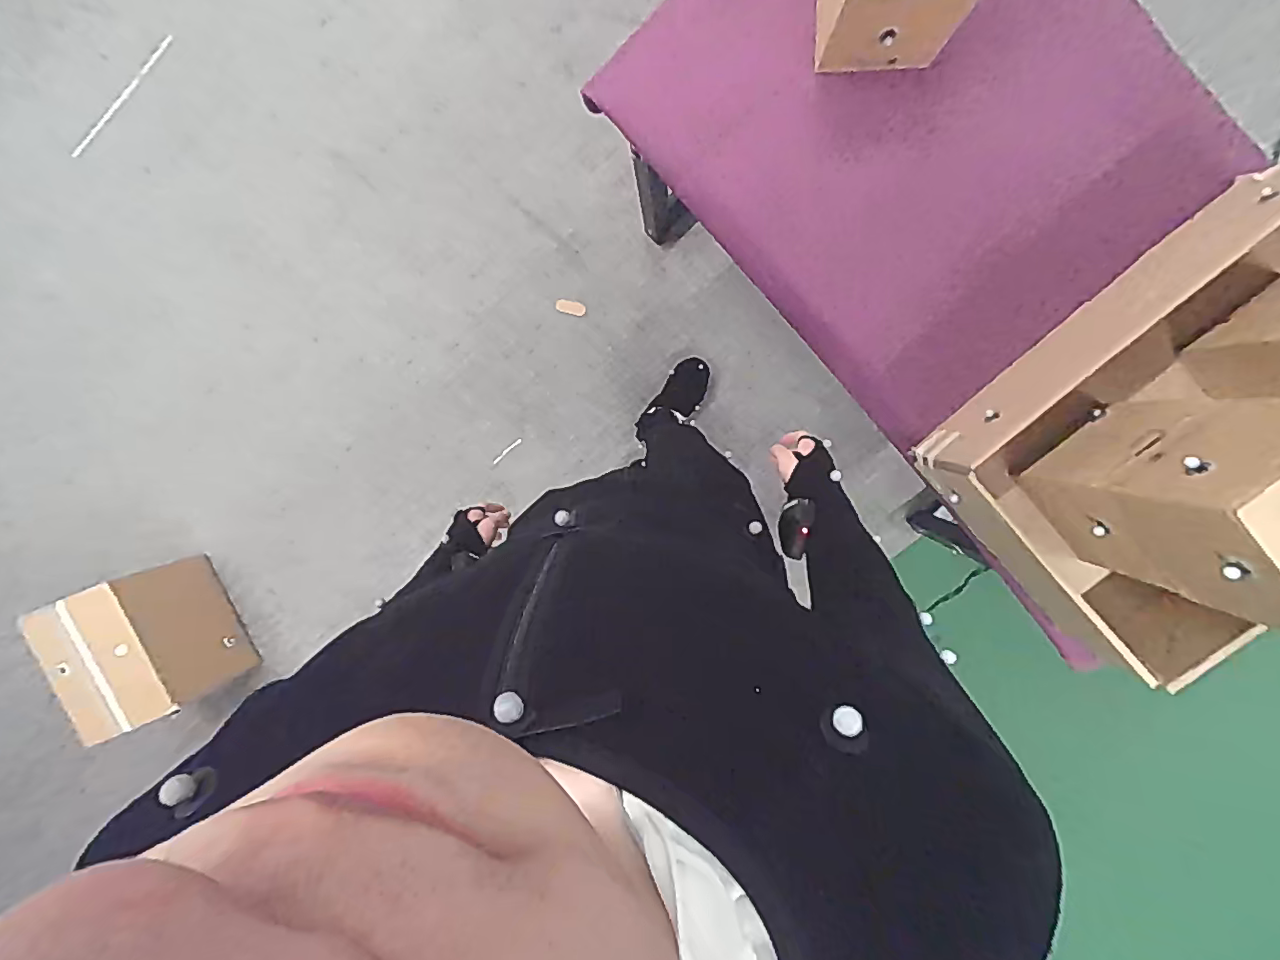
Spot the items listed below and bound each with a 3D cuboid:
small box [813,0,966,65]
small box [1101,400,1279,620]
[{"bbox_3d":[0.332,-0.679,0.705,0.168,0.176,0.179,0,98,3],"label":"small box"},{"bbox_3d":[0.652,0.029,0.563,0.168,0.176,0.179,-39,92,8],"label":"small box"}]
